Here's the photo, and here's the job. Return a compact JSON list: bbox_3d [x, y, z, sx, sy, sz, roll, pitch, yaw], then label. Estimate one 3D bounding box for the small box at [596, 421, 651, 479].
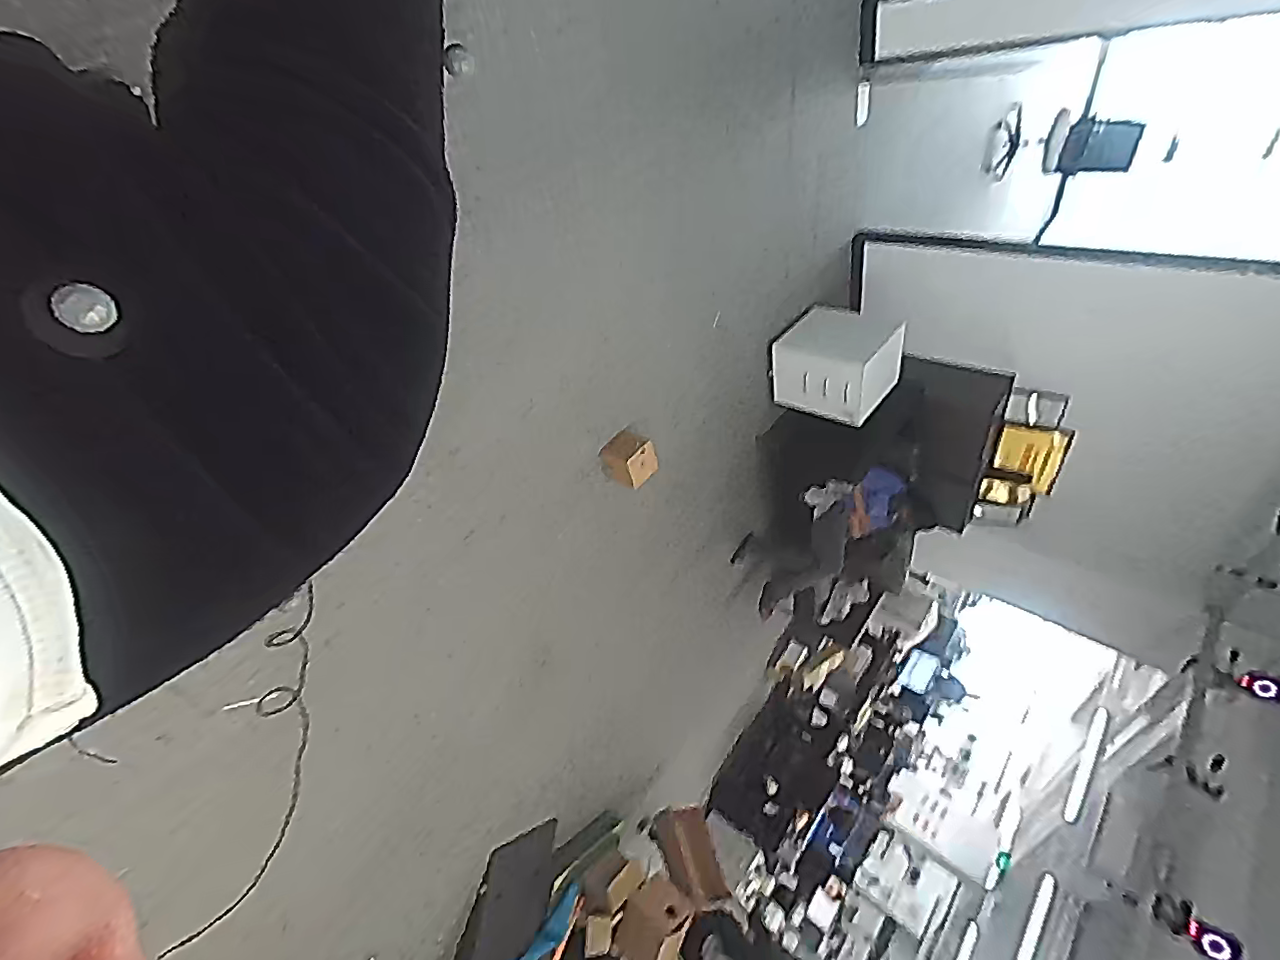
[{"bbox_3d":[-0.074,-0.142,2.456,0.168,0.176,0.179,-45,141,-27],"label":"small box"}]
